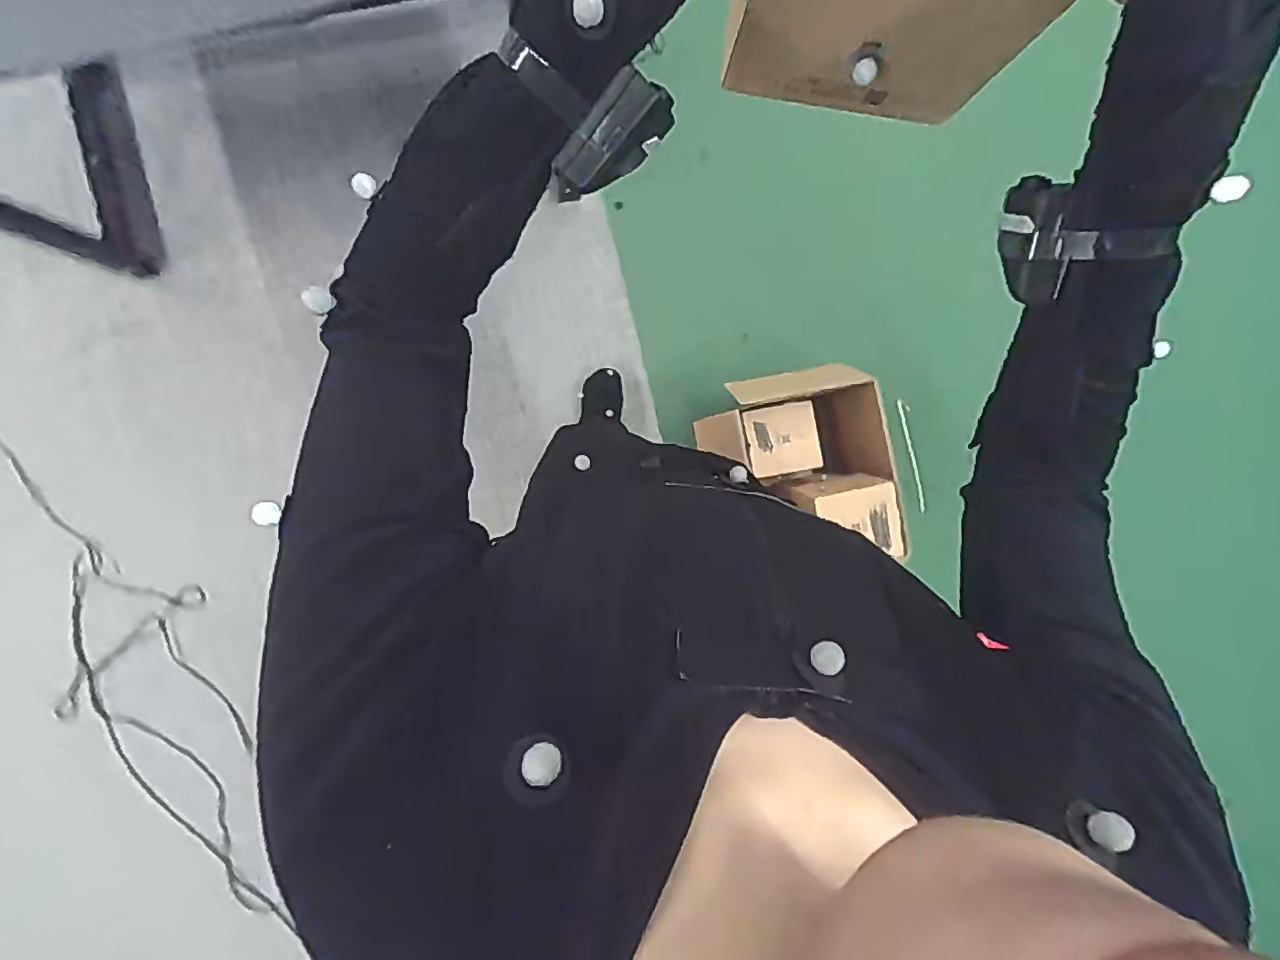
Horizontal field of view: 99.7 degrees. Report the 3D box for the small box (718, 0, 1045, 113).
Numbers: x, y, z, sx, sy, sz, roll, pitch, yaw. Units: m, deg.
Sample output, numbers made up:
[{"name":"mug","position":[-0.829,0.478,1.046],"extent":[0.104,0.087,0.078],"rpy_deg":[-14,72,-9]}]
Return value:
[{"name":"small box","position":[0.145,-0.350,0.298],"extent":[0.168,0.176,0.179],"rpy_deg":[5,94,-4]}]
